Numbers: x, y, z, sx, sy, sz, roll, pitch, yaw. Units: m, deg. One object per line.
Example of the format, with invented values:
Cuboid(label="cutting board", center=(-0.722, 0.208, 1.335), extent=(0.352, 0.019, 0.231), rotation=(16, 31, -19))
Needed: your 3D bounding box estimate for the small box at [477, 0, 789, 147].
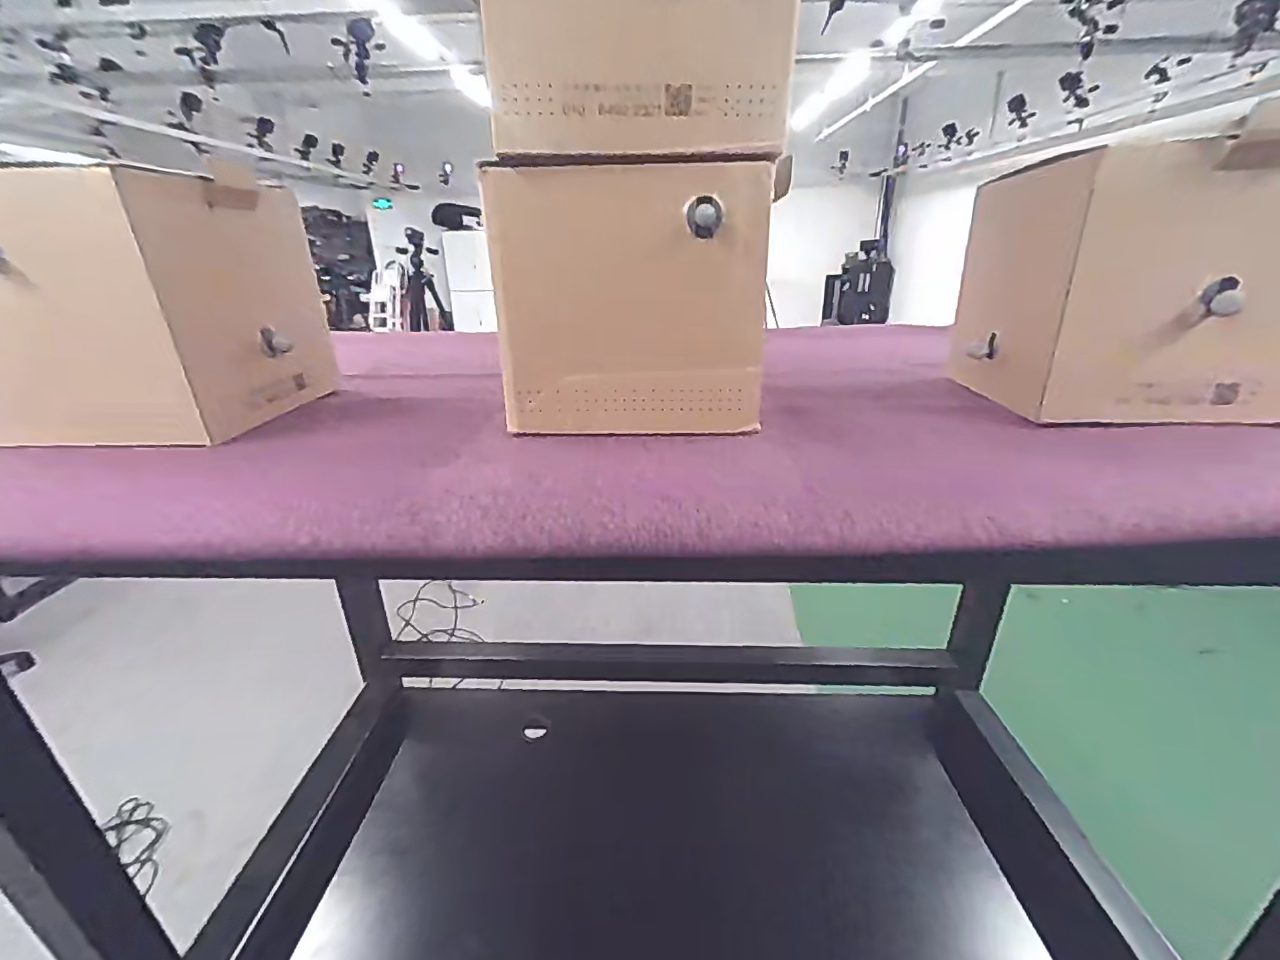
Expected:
Cuboid(label="small box", center=(-0.003, -0.288, 0.343), extent=(0.168, 0.176, 0.179), rotation=(1, 21, 0))

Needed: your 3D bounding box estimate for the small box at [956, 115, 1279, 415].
Cuboid(label="small box", center=(0.355, -0.146, 0.390), extent=(0.168, 0.176, 0.179), rotation=(1, 21, 9))

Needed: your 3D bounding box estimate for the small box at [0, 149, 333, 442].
Cuboid(label="small box", center=(-0.369, -0.131, 0.399), extent=(0.179, 0.176, 0.168), rotation=(0, 24, 2))

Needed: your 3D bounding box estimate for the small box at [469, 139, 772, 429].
Cuboid(label="small box", center=(-0.006, -0.138, 0.404), extent=(0.179, 0.176, 0.168), rotation=(0, 22, 2))
